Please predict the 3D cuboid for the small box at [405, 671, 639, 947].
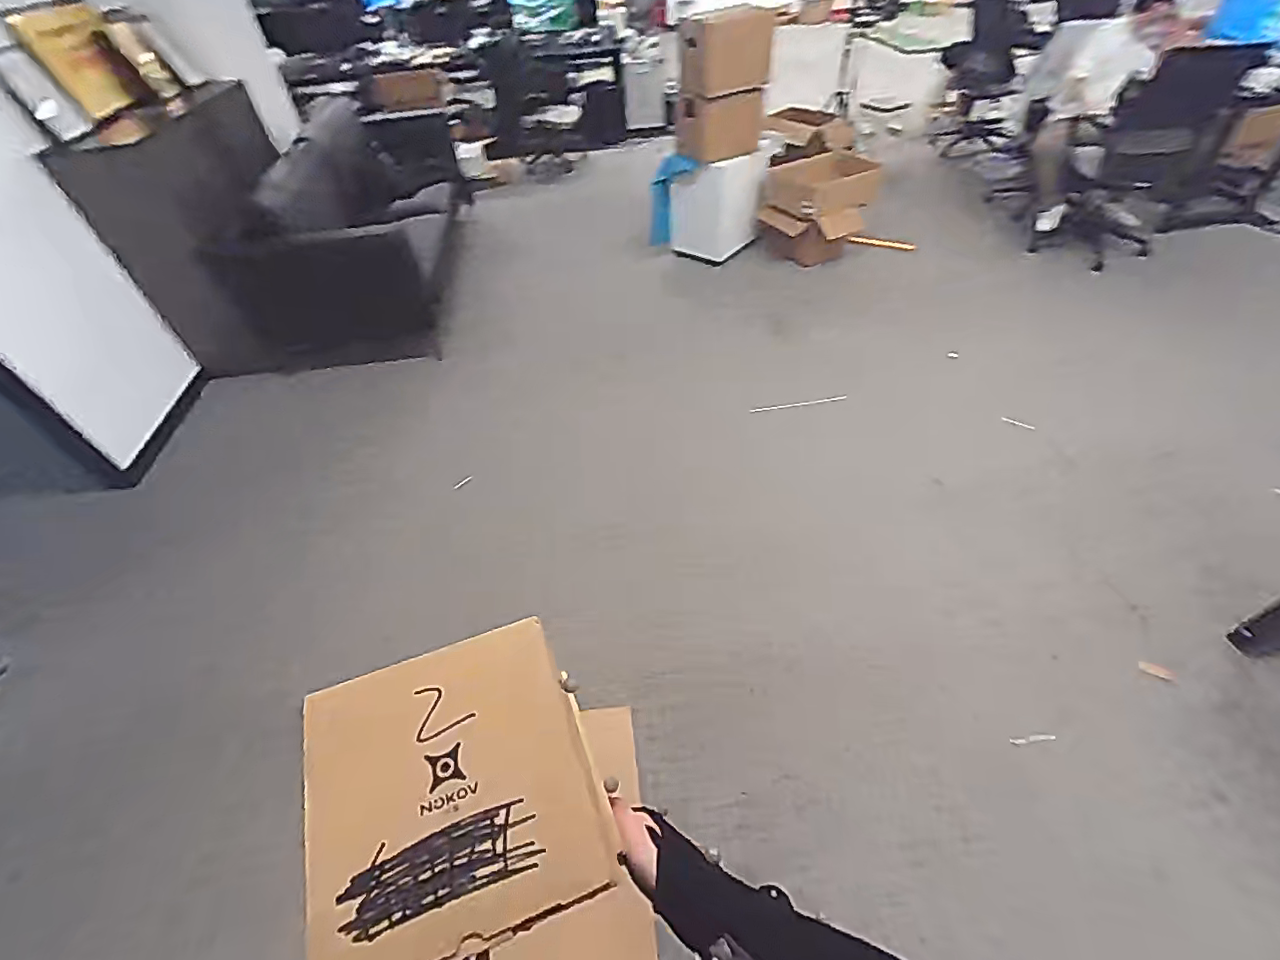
[{"bbox_3d":[-0.112,0.322,0.546,0.179,0.176,0.168,-19,56,-13],"label":"small box"}]
